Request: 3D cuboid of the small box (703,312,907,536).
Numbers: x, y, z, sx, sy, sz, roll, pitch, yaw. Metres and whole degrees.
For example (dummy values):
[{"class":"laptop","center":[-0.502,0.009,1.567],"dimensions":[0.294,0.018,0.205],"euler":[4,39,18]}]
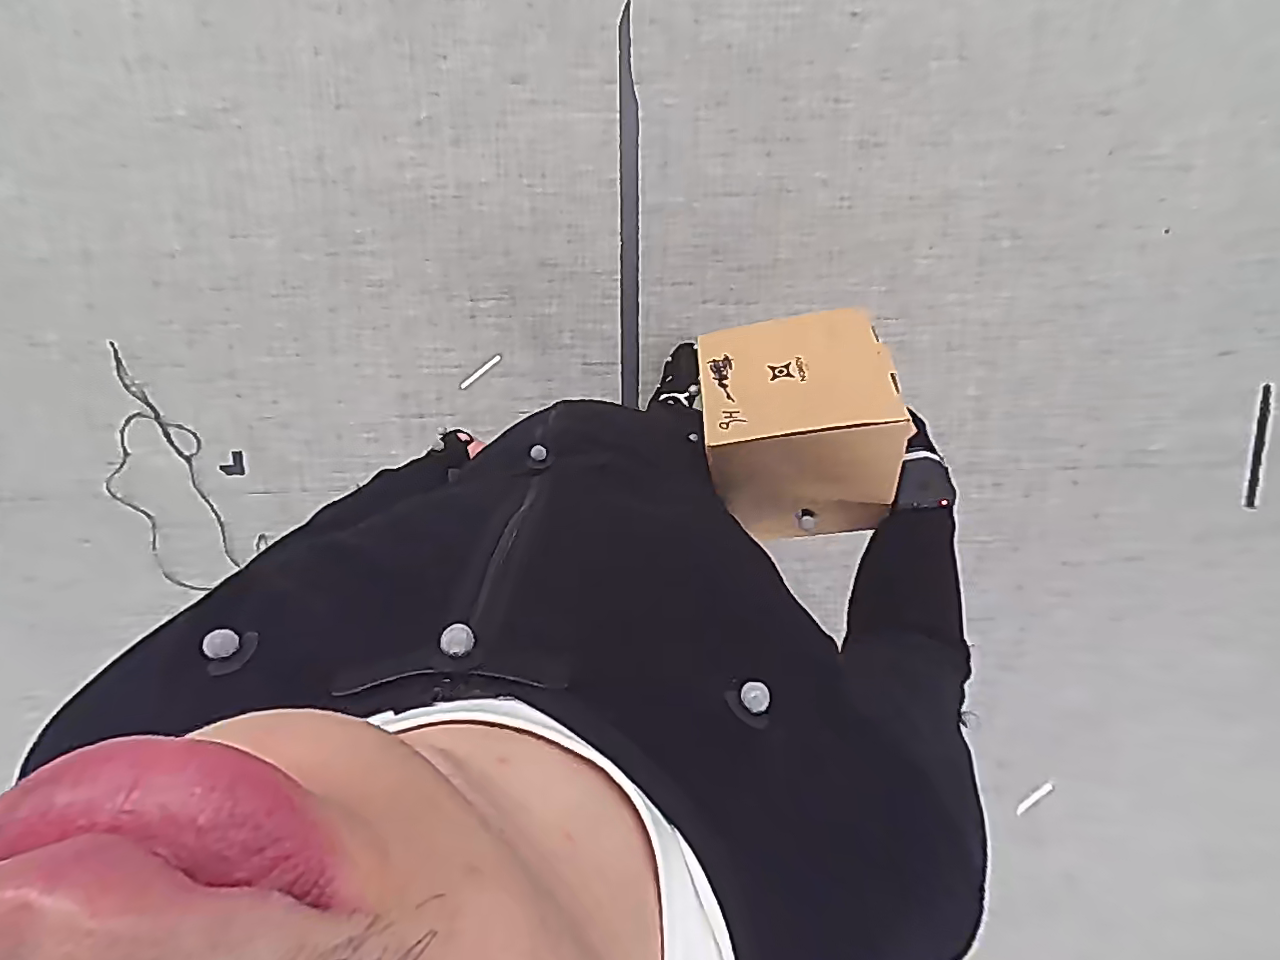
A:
[{"class":"small box","center":[0.168,-0.055,0.599],"dimensions":[0.179,0.168,0.176],"euler":[-7,139,10]}]
